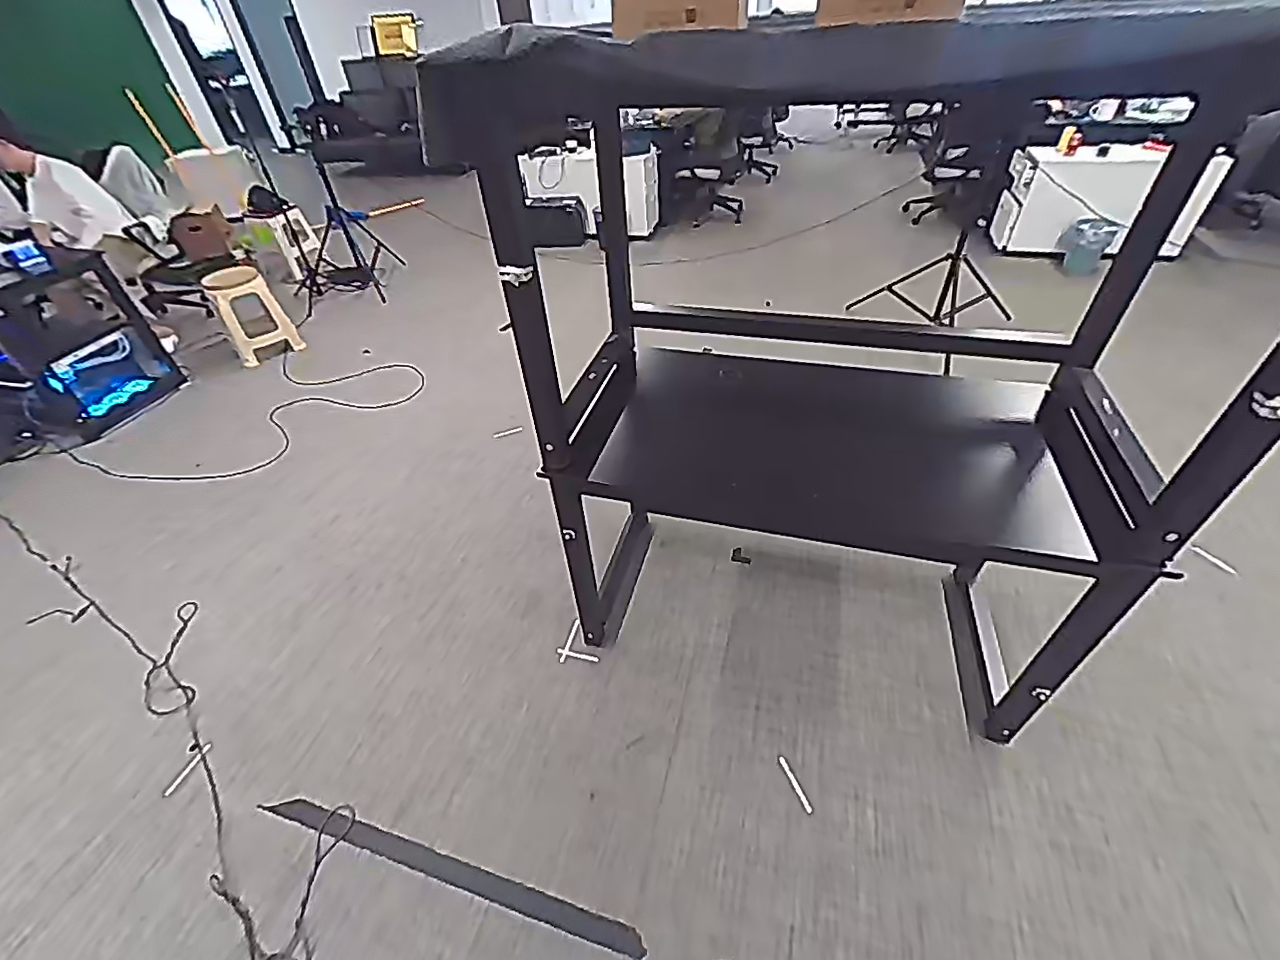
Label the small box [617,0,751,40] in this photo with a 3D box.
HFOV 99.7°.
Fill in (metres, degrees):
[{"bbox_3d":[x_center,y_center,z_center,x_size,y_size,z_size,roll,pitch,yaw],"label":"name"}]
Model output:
[{"bbox_3d":[0.063,-0.685,0.702,0.168,0.176,0.179,7,42,10],"label":"small box"}]
